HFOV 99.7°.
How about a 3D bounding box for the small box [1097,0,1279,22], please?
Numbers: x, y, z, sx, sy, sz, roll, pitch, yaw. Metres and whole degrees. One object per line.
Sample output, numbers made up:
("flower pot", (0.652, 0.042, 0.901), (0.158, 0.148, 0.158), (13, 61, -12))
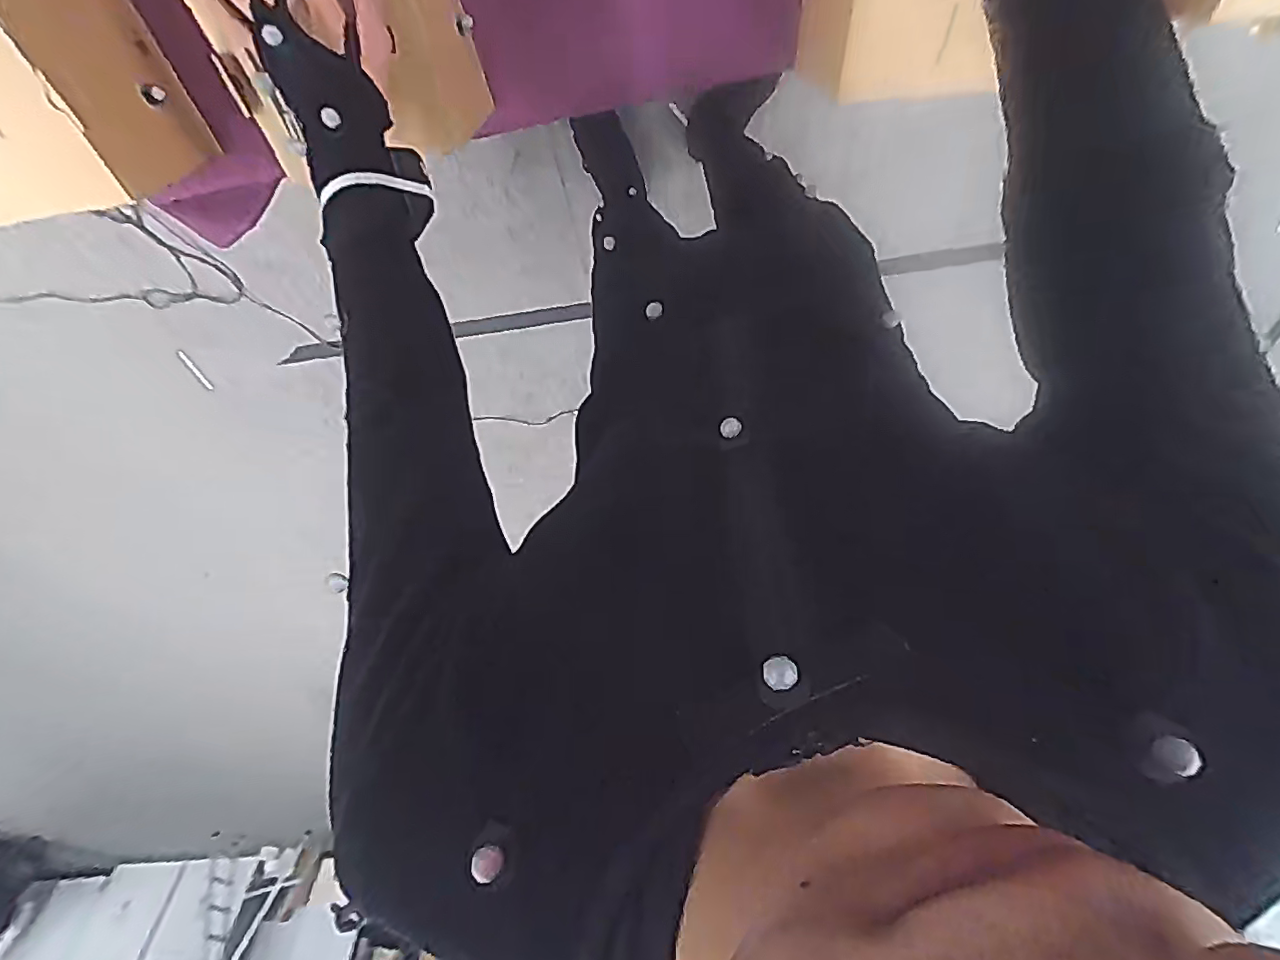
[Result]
("small box", (0.531, -0.491, 0.435), (0.168, 0.176, 0.179), (-2, 134, 2))

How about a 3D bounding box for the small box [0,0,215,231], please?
("small box", (-0.585, -0.366, 0.531), (0.179, 0.176, 0.168), (-8, 134, 5))
